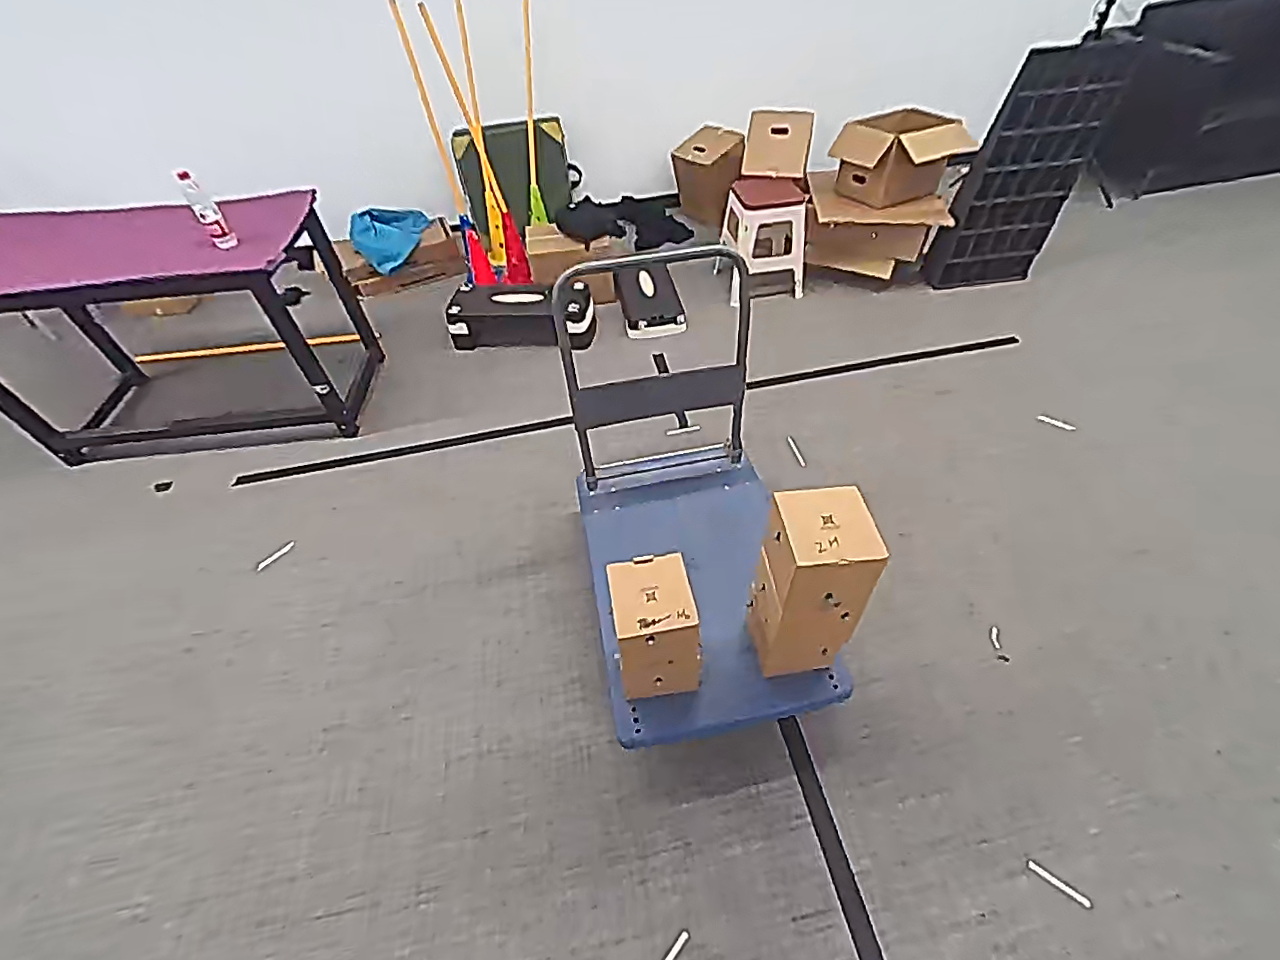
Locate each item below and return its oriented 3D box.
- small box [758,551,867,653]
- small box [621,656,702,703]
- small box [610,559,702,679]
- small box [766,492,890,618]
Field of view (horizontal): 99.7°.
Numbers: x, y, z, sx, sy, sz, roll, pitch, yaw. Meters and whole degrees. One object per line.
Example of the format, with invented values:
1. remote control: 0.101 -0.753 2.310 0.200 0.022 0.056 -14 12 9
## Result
1. small box: 0.359 0.259 1.170 0.179 0.176 0.168 -6 48 -2
2. small box: 0.044 0.409 1.277 0.179 0.176 0.168 -8 47 -2
3. small box: 0.030 0.298 1.156 0.168 0.176 0.179 -10 47 -4
4. small box: 0.350 0.146 1.050 0.168 0.176 0.179 -5 47 -1
